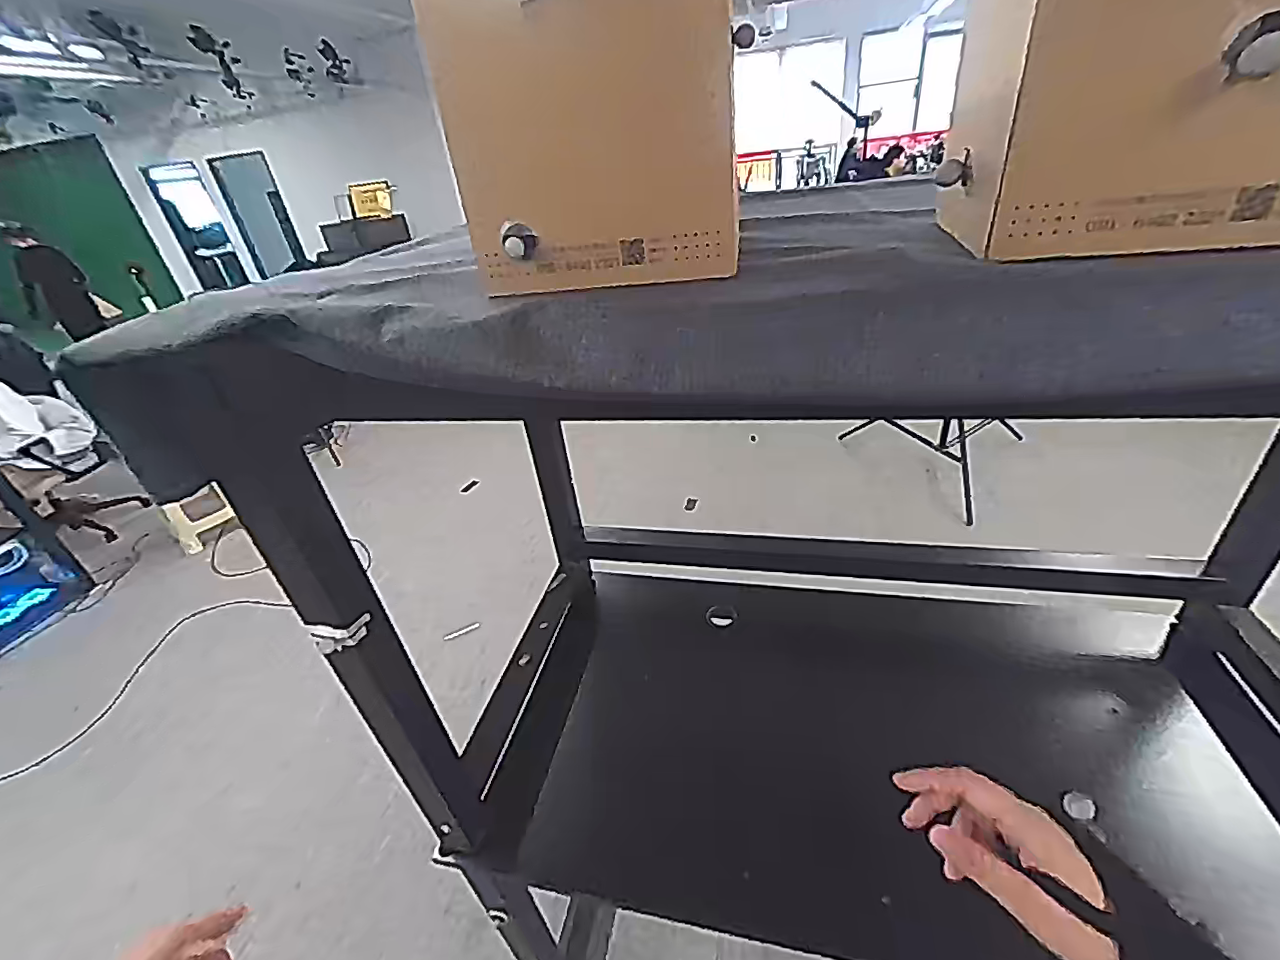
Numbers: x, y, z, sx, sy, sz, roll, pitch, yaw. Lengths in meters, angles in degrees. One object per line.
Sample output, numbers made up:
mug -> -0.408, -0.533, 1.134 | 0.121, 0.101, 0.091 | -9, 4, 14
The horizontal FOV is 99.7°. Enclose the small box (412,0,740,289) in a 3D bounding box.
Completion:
small box -> -0.017, -0.233, 0.374 | 0.168, 0.176, 0.179 | -1, 30, 11

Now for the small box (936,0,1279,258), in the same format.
small box -> 0.274, -0.221, 0.291 | 0.168, 0.176, 0.179 | 4, 32, 17
